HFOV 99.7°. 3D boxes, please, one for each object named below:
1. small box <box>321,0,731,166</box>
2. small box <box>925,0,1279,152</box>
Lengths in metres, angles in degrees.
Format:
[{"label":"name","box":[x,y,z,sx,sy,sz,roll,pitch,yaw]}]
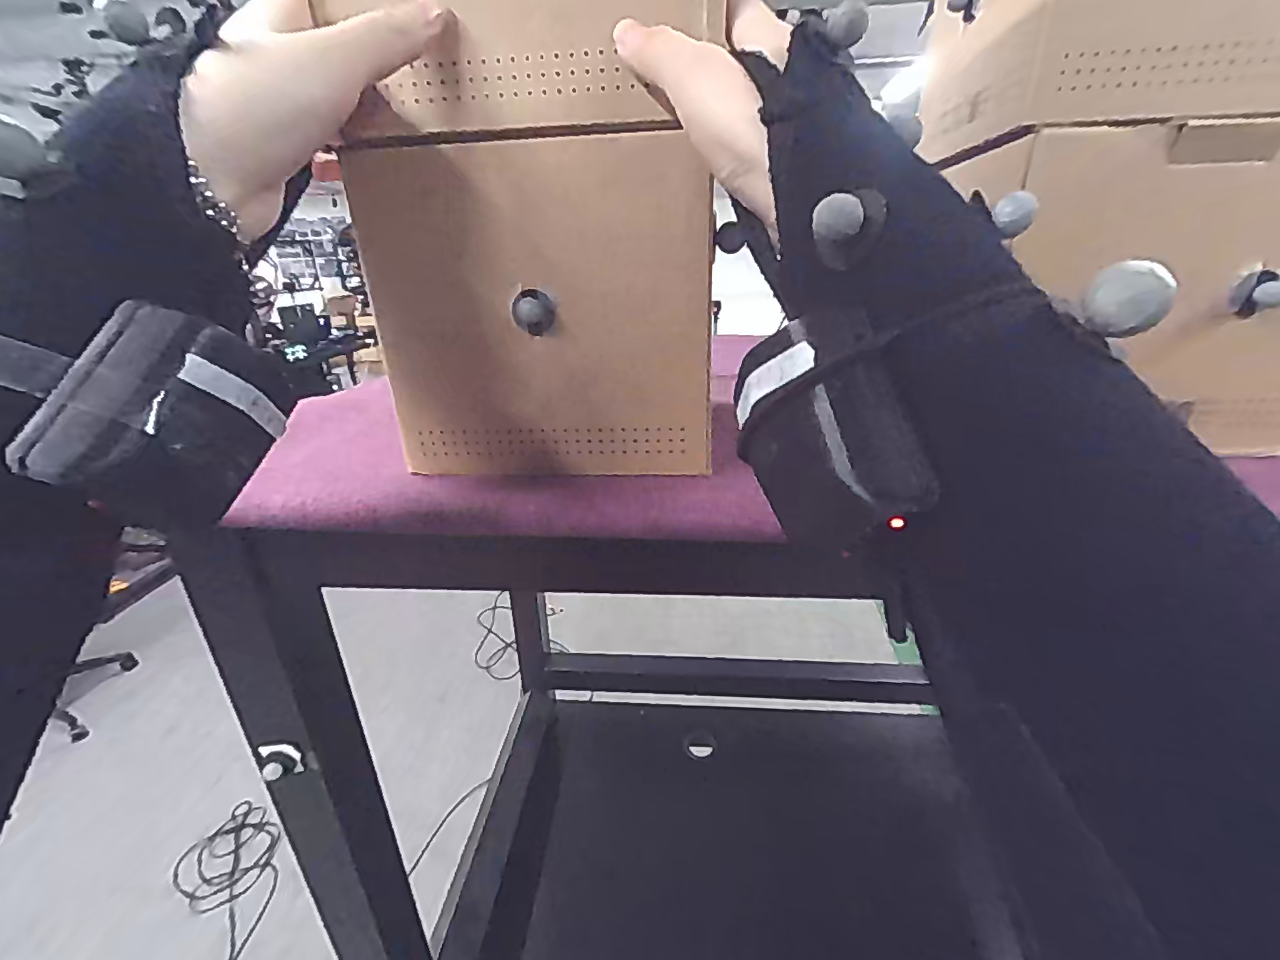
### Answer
[{"label":"small box","box":[-0.048,-0.264,0.272,0.179,0.176,0.168,-1,24,4]},{"label":"small box","box":[0.273,-0.277,0.288,0.179,0.176,0.168,2,23,6]}]
